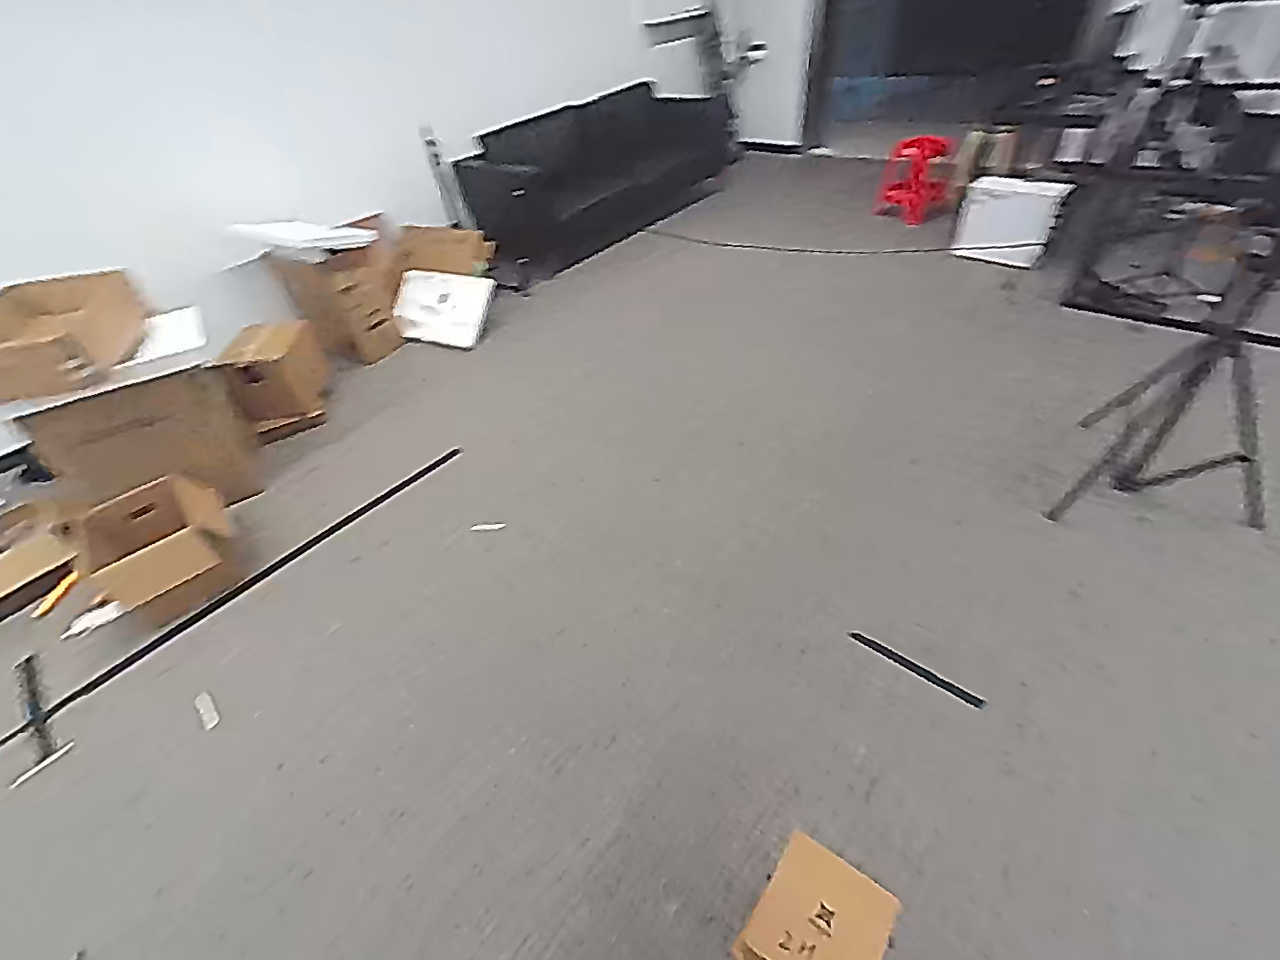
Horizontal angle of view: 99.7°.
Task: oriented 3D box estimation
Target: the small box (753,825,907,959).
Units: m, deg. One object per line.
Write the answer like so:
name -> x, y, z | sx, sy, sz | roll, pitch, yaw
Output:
small box -> 0.282, 0.685, 0.829 | 0.168, 0.176, 0.179 | 23, 52, 30
